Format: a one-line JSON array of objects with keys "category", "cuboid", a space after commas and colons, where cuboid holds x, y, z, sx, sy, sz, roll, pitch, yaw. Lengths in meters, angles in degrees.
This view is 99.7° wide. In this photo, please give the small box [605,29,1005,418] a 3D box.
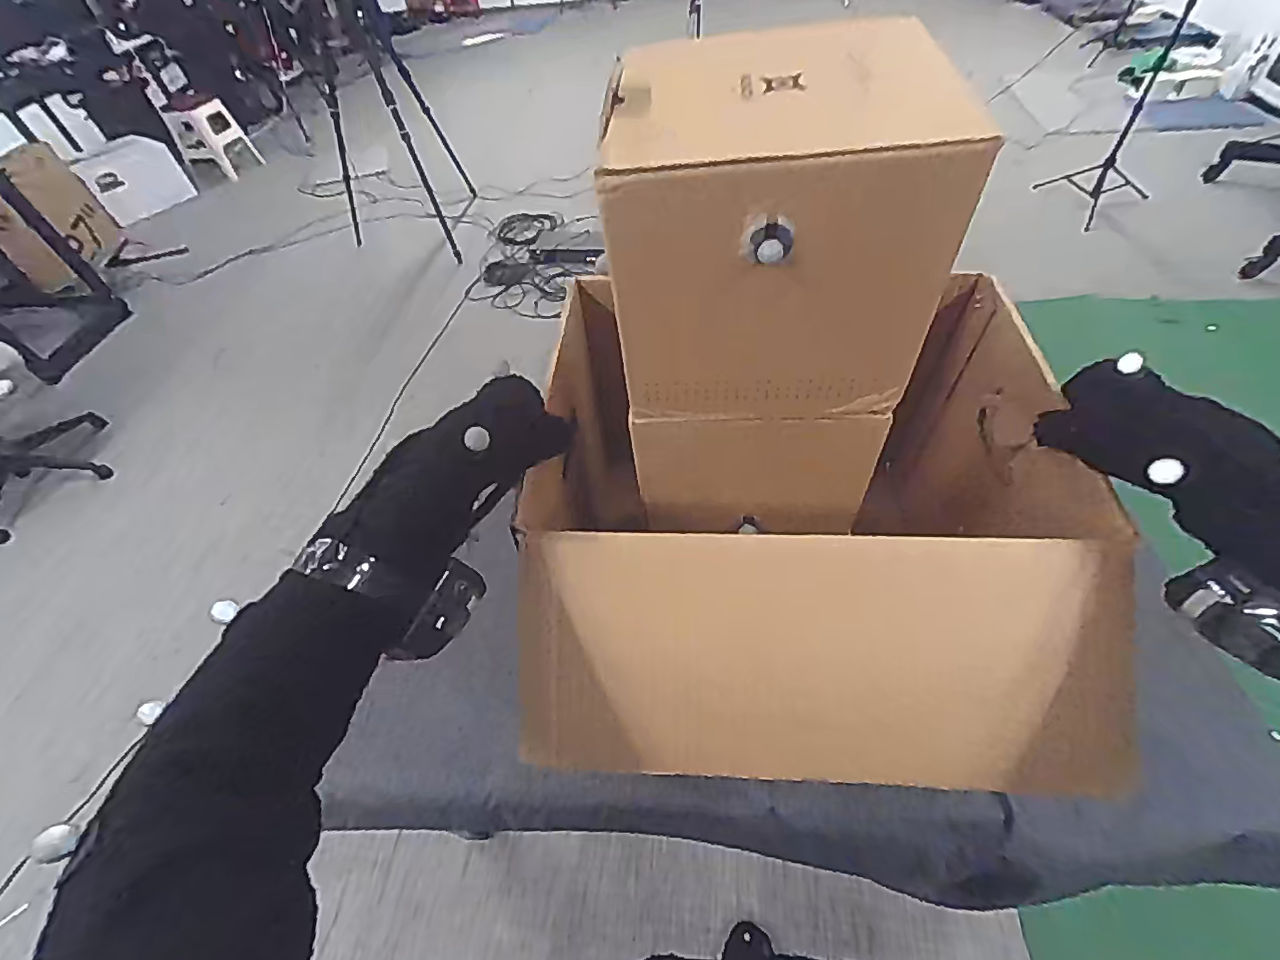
[{"category": "small box", "cuboid": [0.082, -0.153, 0.347, 0.179, 0.176, 0.168, 0, 54, 6]}]
